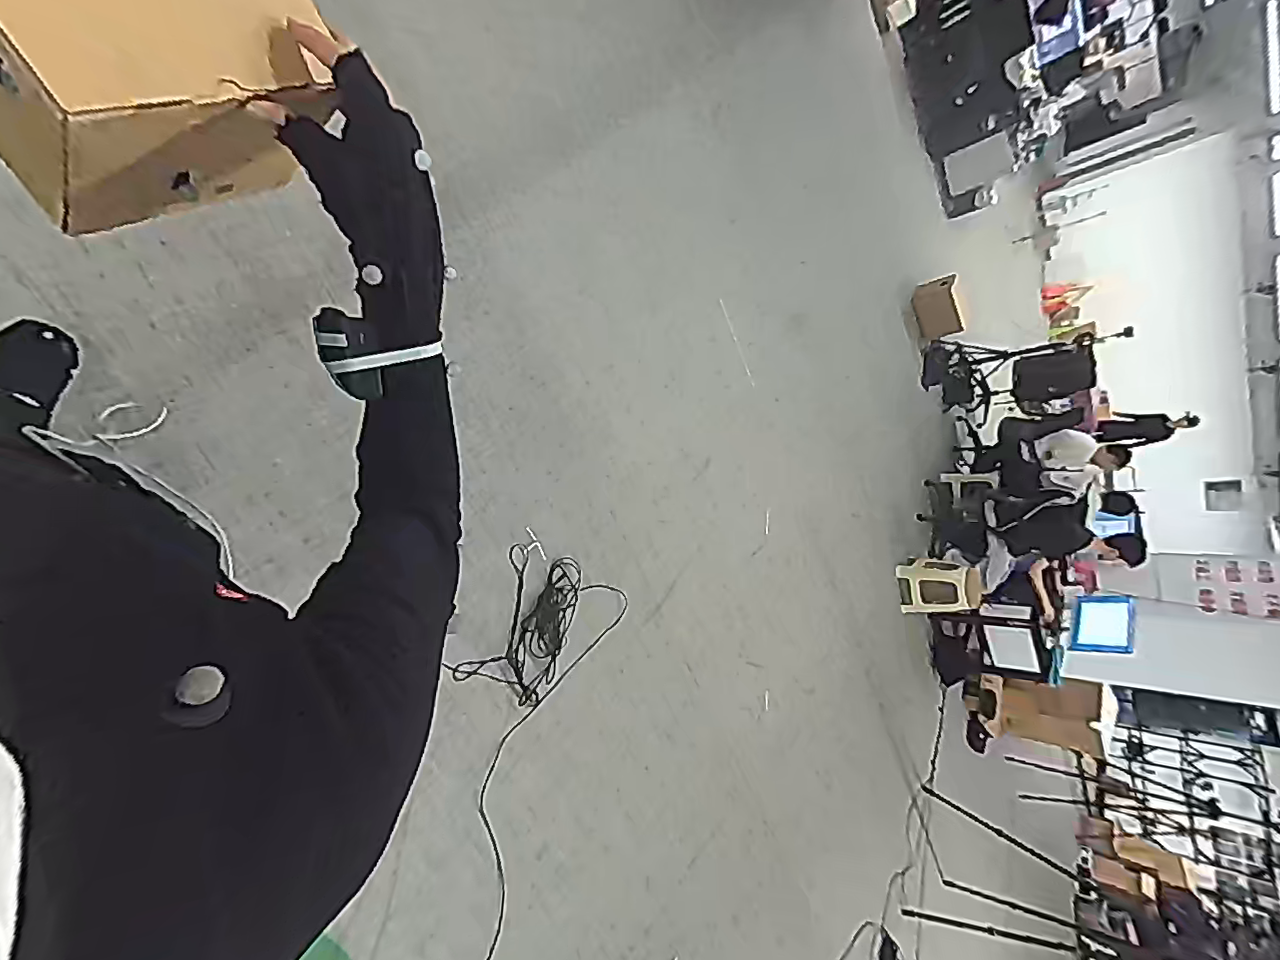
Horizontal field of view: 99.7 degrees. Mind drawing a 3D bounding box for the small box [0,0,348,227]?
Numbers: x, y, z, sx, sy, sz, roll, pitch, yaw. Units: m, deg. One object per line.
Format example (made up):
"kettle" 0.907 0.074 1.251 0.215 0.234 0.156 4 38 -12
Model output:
"small box" -0.339 -0.296 0.346 0.168 0.176 0.179 -45 120 -38
